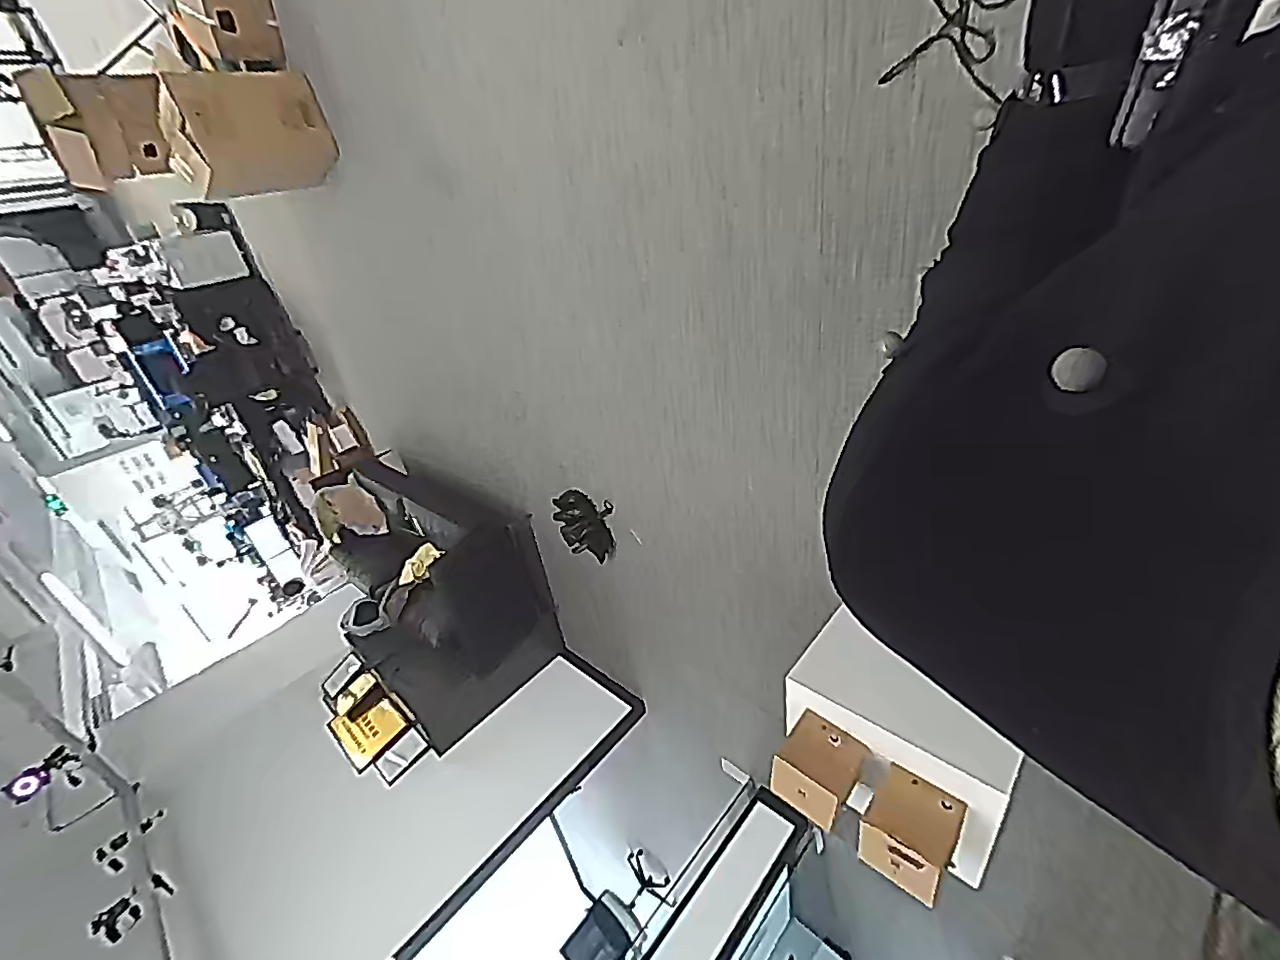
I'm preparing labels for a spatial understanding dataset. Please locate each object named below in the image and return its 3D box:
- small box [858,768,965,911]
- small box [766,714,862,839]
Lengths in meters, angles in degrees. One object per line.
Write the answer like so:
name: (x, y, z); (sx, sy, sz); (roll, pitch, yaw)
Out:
small box: (0.609, 0.796, 1.215); (0.168, 0.176, 0.179); (19, 131, 41)
small box: (0.433, 0.730, 1.346); (0.168, 0.176, 0.179); (22, 130, 36)
